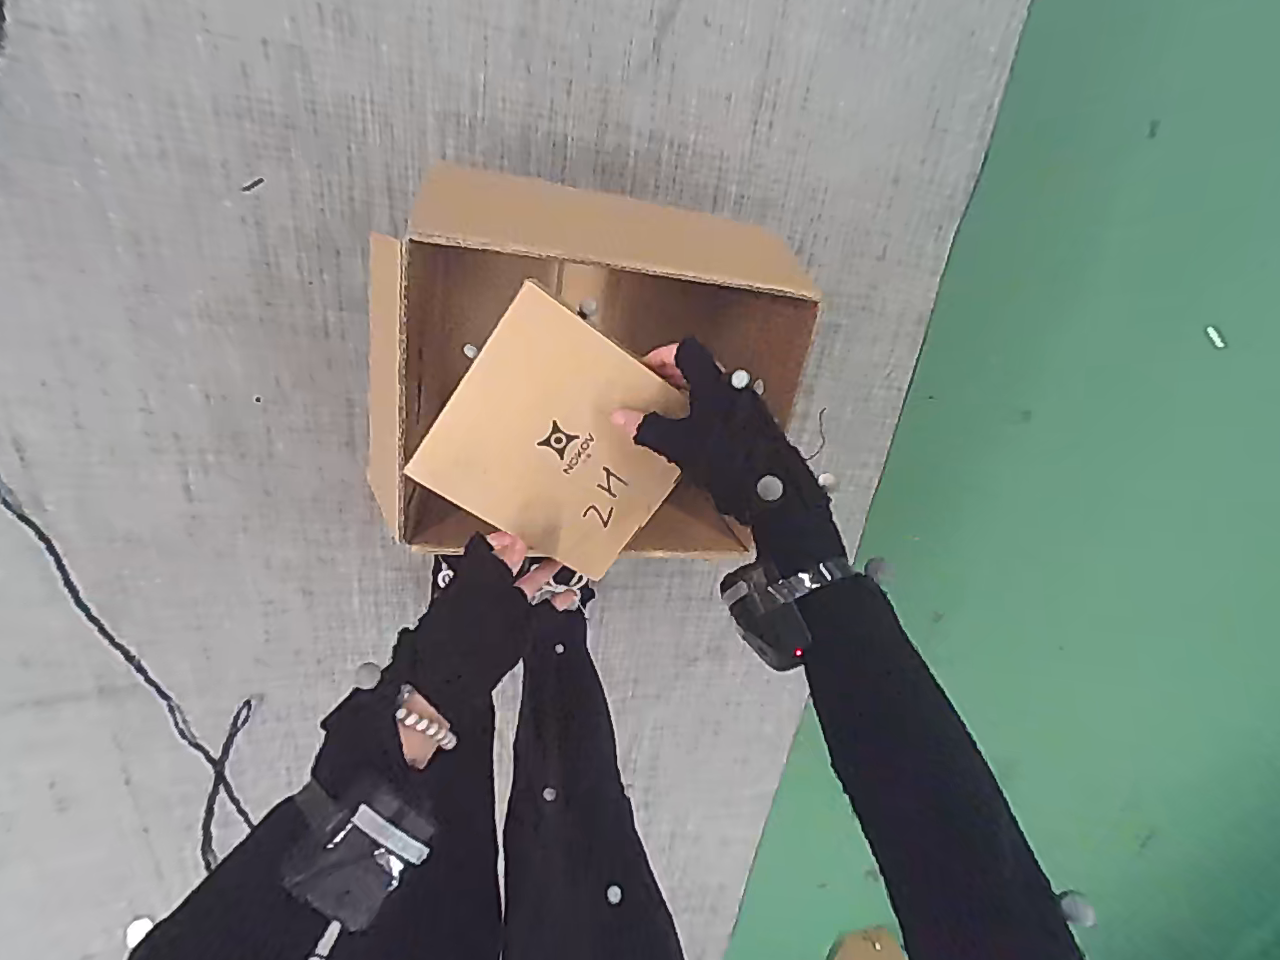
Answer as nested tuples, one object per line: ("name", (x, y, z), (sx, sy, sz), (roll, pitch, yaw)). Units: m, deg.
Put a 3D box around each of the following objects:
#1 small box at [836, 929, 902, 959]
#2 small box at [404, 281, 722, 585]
("small box", (0.769, 1.627, 1.774), (0.168, 0.176, 0.179), (3, 113, -16))
("small box", (-0.064, -0.048, 0.467), (0.179, 0.176, 0.168), (32, 103, -18))
